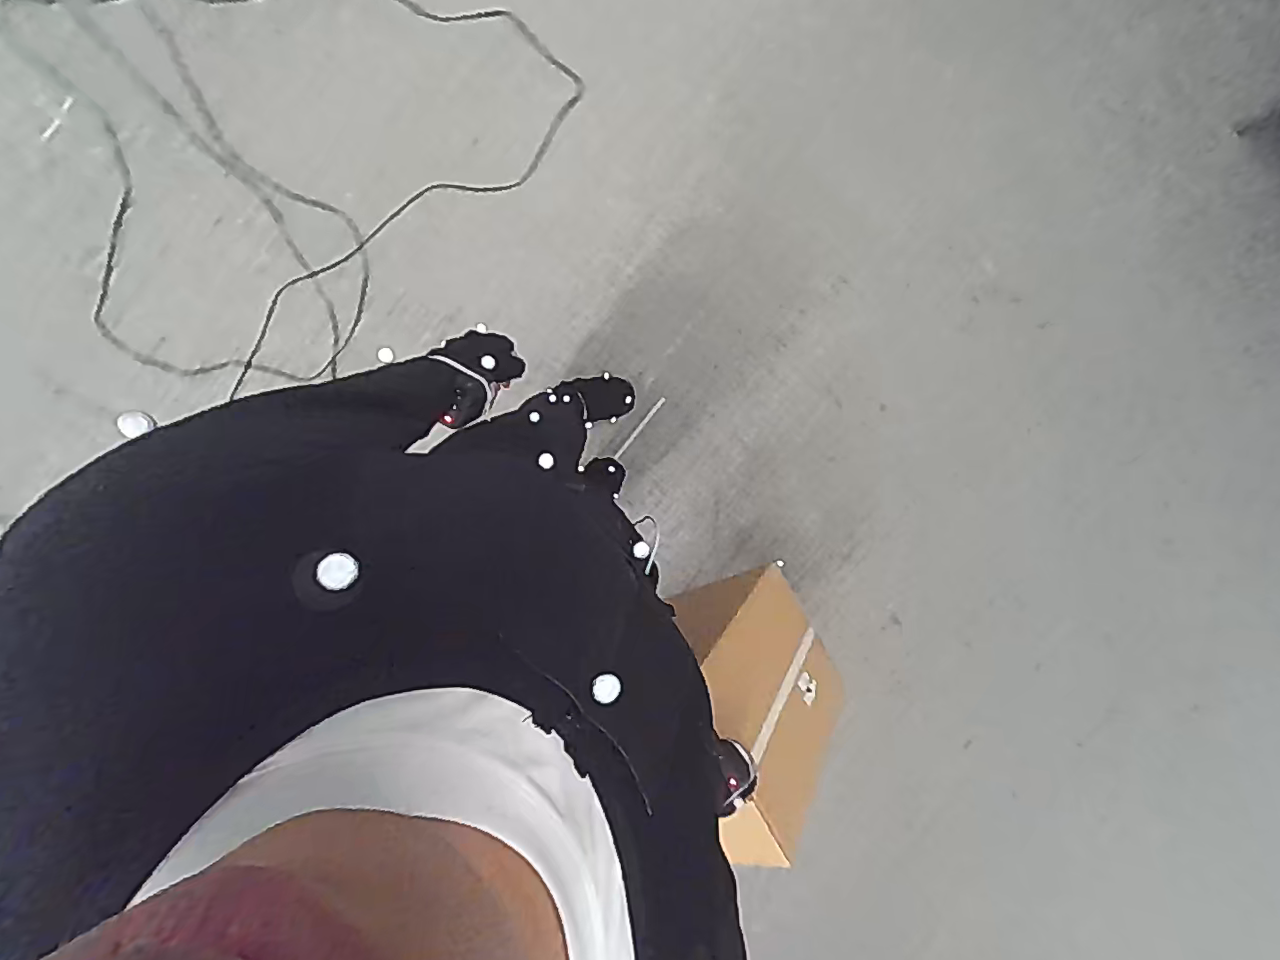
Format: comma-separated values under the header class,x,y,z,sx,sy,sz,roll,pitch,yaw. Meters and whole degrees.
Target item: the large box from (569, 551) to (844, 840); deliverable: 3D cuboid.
class,x,y,z,sx,sy,sz,roll,pitch,yaw
large box,0.143,0.401,1.040,0.320,0.408,0.320,-28,93,37
